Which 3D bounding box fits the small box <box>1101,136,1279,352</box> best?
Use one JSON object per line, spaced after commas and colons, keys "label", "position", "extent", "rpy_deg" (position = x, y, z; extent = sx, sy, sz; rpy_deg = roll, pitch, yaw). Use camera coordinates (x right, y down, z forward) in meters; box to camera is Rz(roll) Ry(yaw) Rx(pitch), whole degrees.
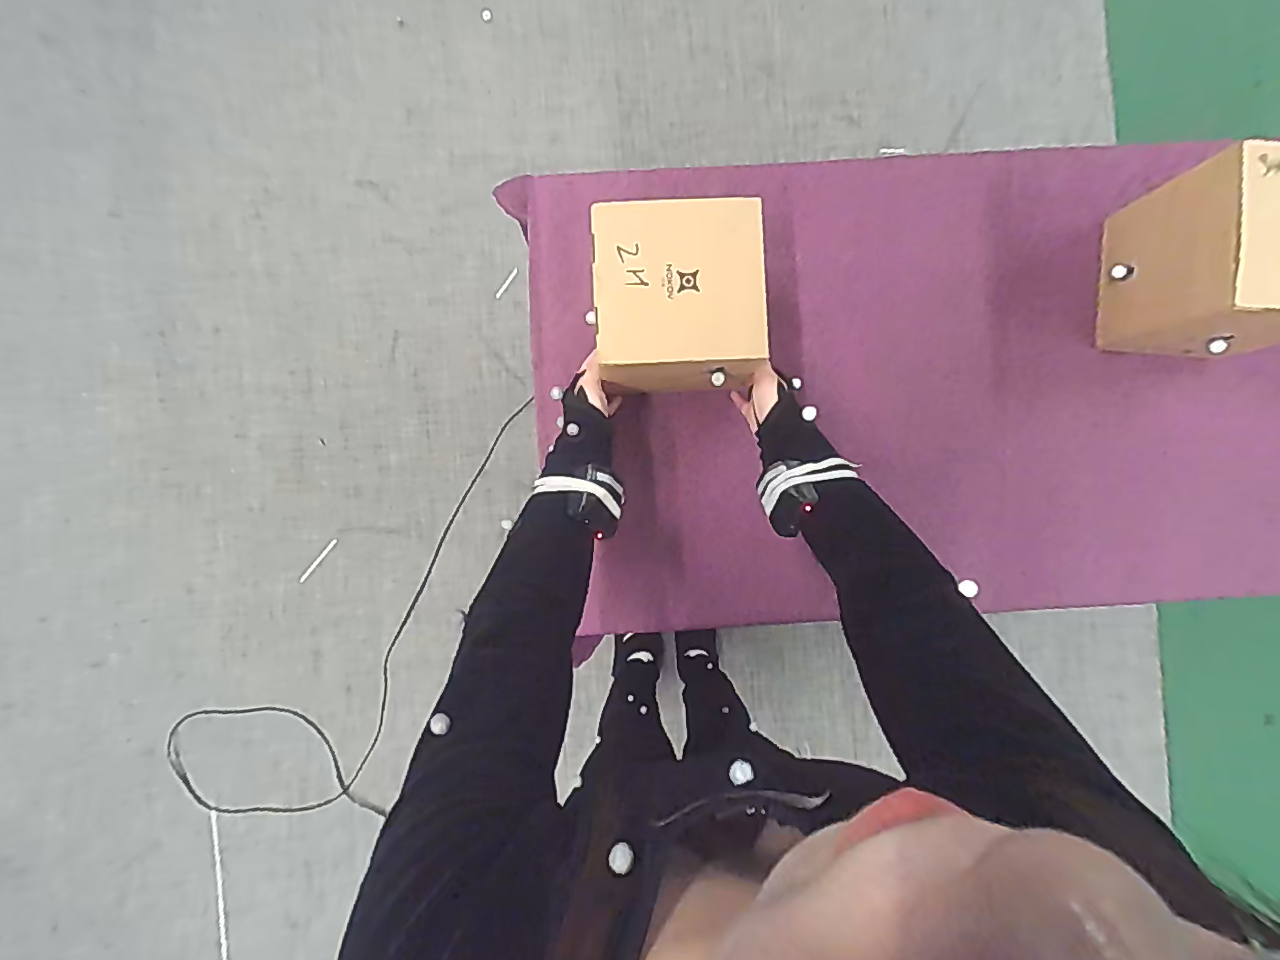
{"label": "small box", "position": [0.681, -0.254, 0.621], "extent": [0.168, 0.176, 0.179], "rpy_deg": [4, 90, 0]}

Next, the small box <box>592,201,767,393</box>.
{"label": "small box", "position": [0.039, -0.198, 0.626], "extent": [0.179, 0.176, 0.168], "rpy_deg": [-2, 88, 0]}
